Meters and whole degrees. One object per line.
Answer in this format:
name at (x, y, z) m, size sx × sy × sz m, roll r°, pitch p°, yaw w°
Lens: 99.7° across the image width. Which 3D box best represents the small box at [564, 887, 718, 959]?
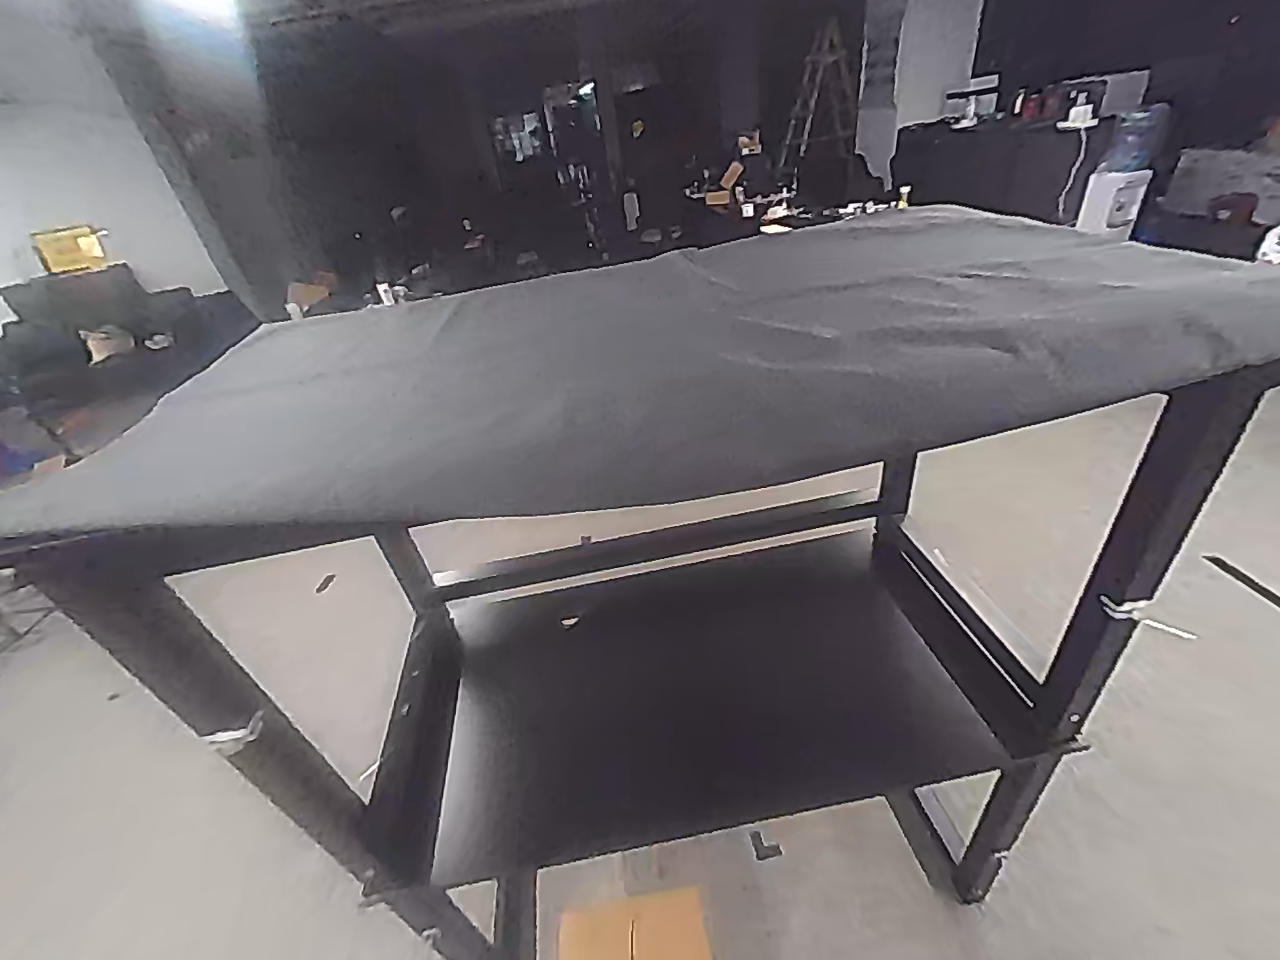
small box at (0.013, 0.596, 0.584) m, size 0.168 × 0.176 × 0.179 m, roll -10°, pitch 23°, yaw -1°
